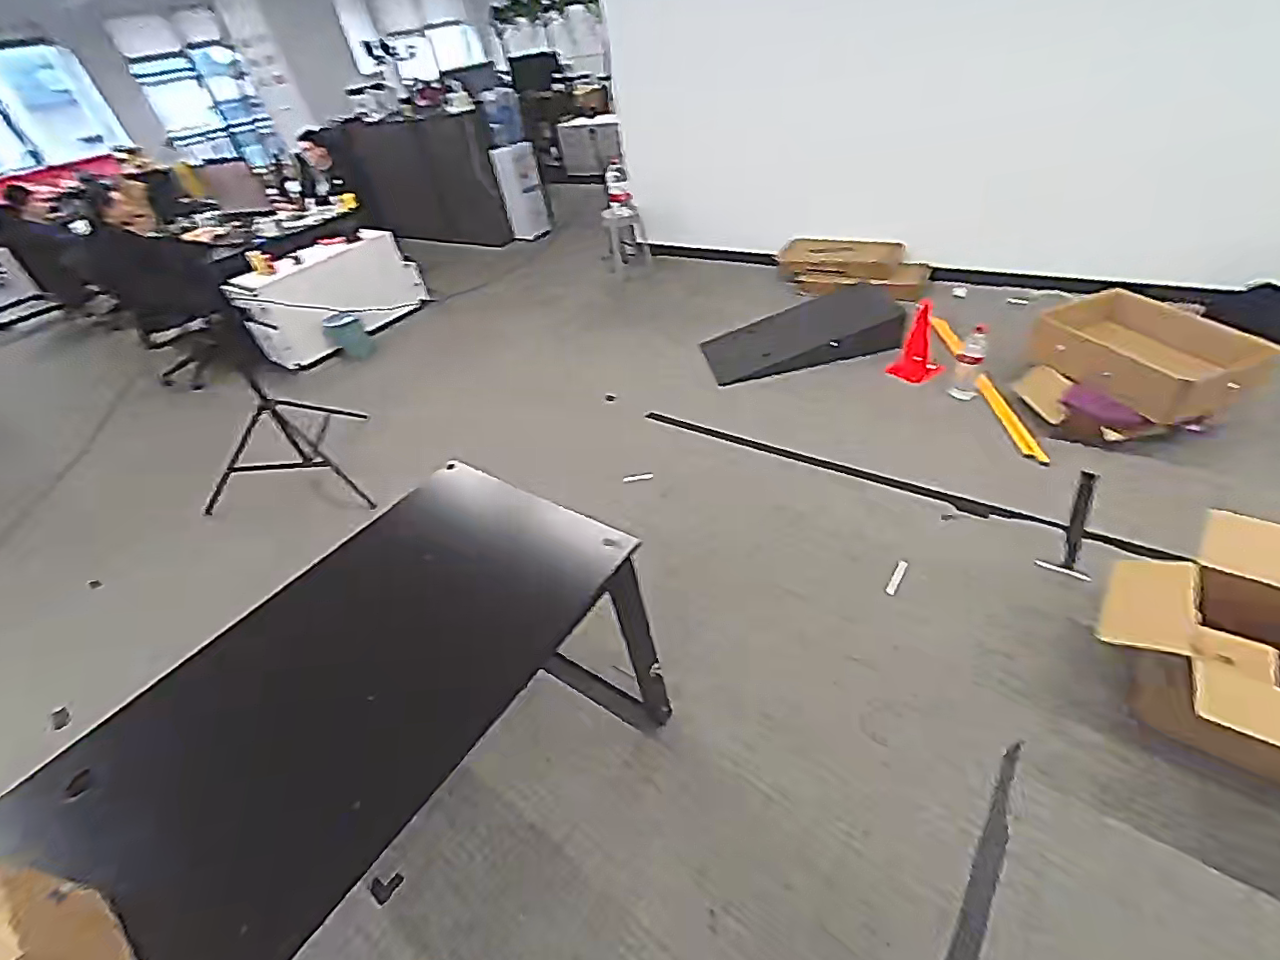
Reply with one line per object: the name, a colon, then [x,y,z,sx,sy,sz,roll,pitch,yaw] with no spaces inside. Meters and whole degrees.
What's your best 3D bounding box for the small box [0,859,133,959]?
small box: [-0.728,0.582,0.604,0.168,0.176,0.179,17,49,31]
